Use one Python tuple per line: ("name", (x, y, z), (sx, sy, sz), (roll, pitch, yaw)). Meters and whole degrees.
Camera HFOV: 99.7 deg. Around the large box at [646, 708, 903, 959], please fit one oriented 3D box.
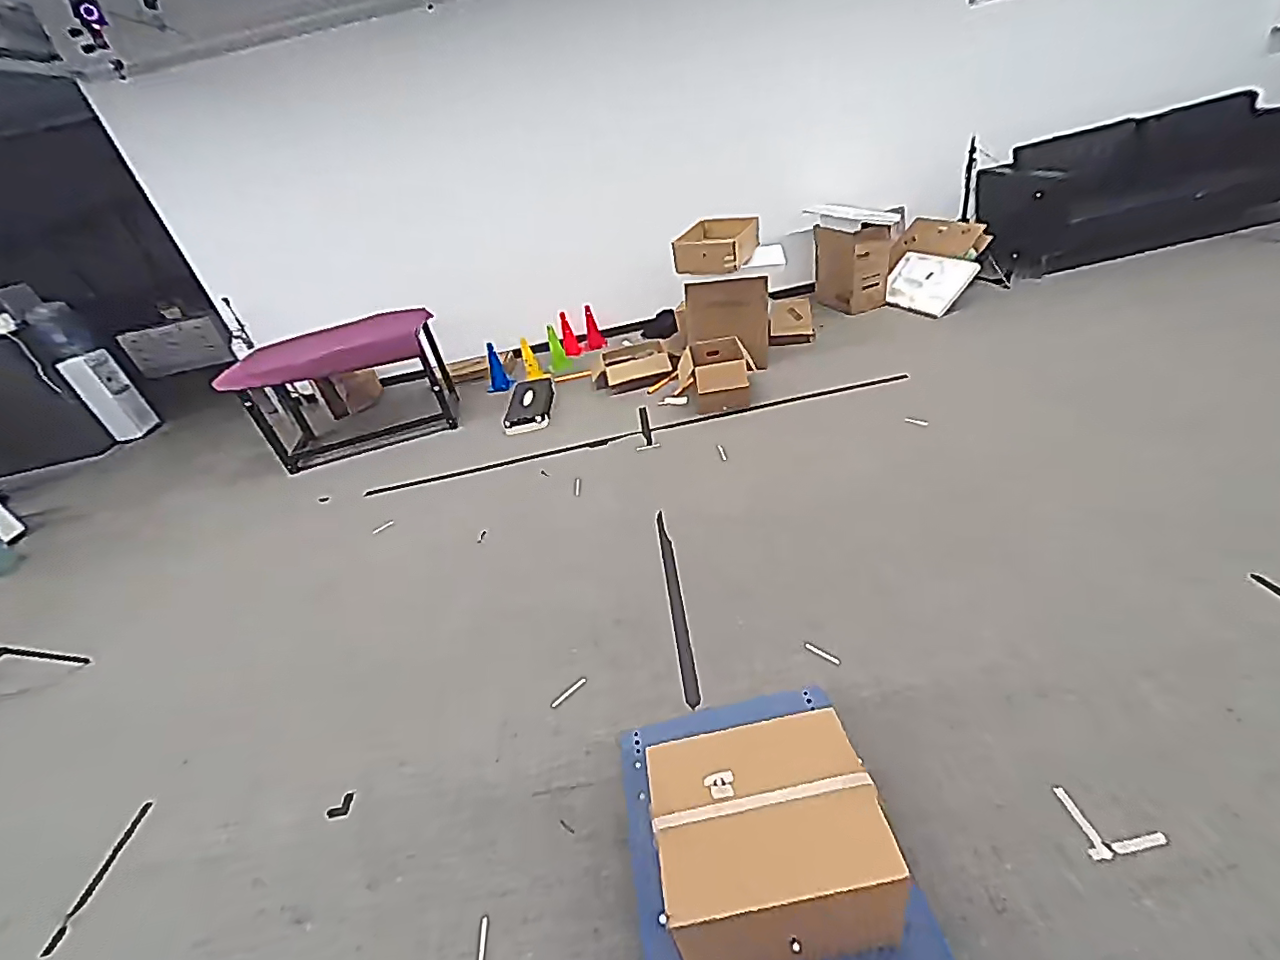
("large box", (0.255, 0.727, 1.090), (0.408, 0.320, 0.320), (-14, 32, 1))
